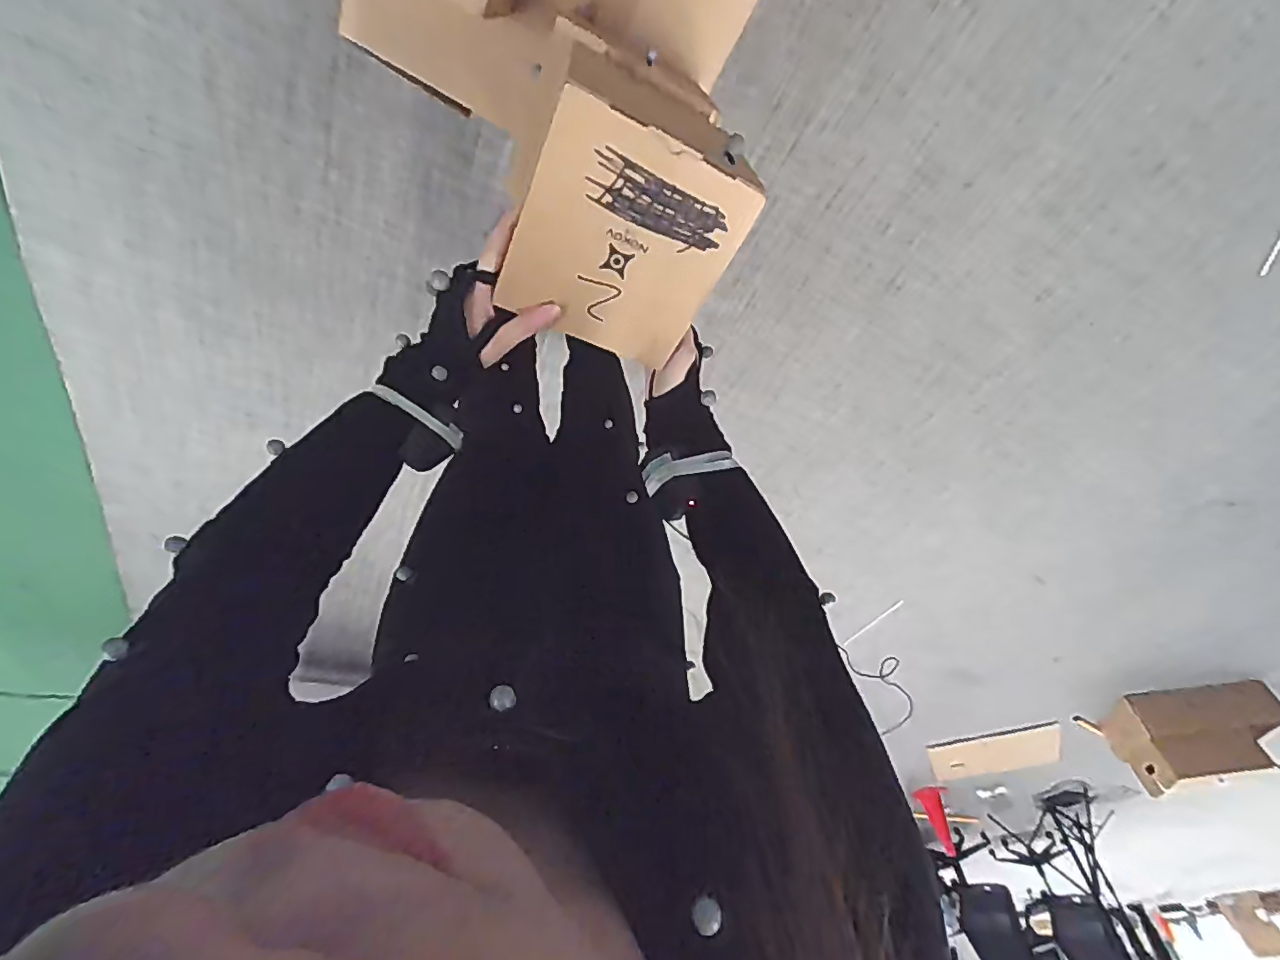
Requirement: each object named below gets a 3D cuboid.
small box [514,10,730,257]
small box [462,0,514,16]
[{"bbox_3d":[-0.026,-0.391,0.609,0.179,0.176,0.168,18,129,-20],"label":"small box"},{"bbox_3d":[-0.169,-0.543,0.457,0.168,0.176,0.179,19,128,-20],"label":"small box"}]
